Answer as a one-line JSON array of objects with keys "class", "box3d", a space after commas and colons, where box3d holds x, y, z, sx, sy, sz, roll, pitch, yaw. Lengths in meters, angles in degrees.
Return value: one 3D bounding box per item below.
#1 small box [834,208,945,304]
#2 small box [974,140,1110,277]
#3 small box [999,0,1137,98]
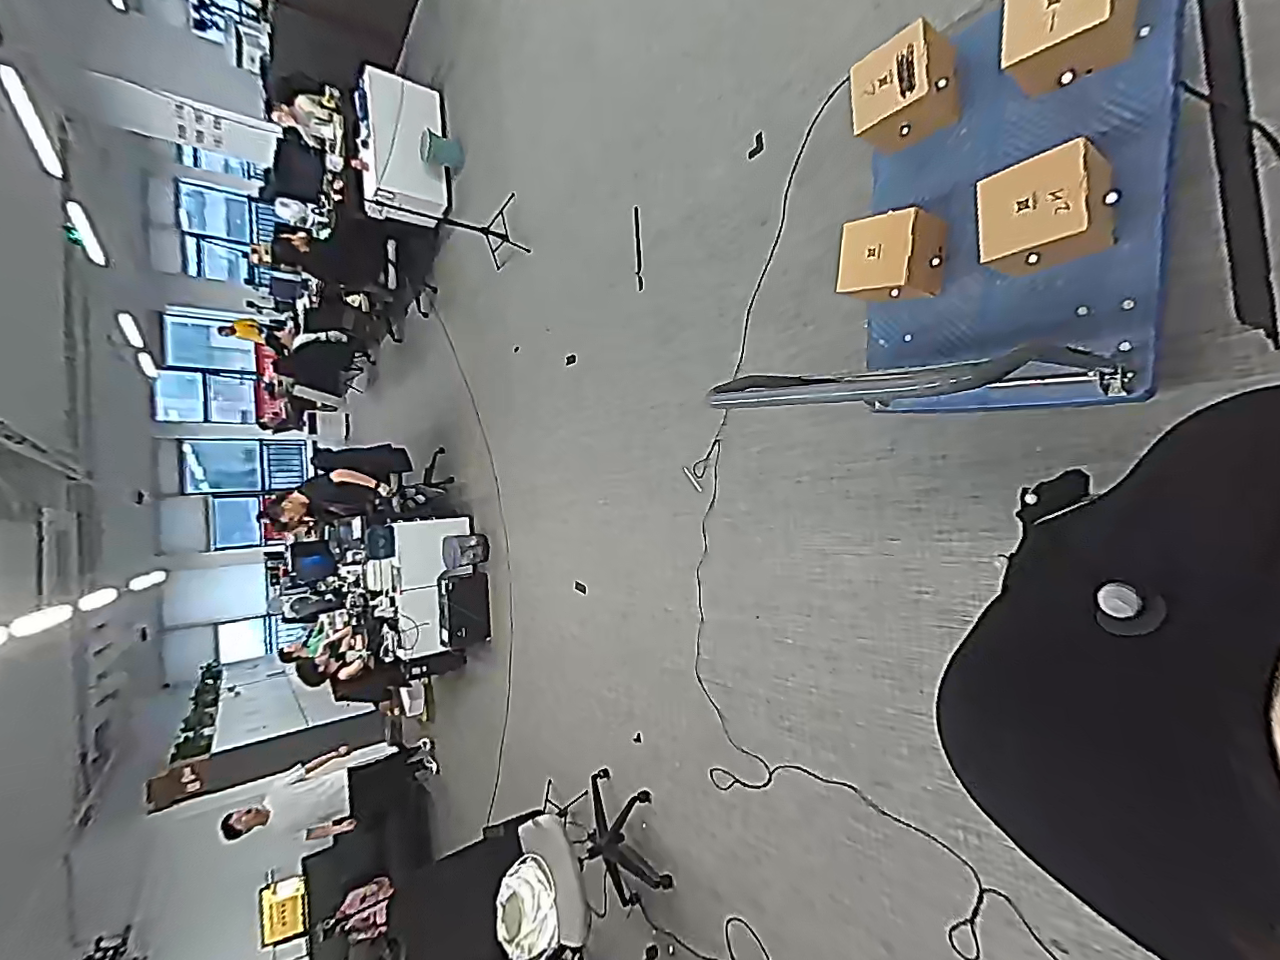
[{"class": "small box", "box3d": [0.602, -0.530, 1.307, 0.179, 0.176, 0.168, 13, 102, 50]}, {"class": "small box", "box3d": [0.788, -0.517, 1.062, 0.179, 0.176, 0.168, -2, 90, 53]}, {"class": "small box", "box3d": [0.805, -0.872, 1.017, 0.168, 0.176, 0.179, 7, 99, 52]}]
